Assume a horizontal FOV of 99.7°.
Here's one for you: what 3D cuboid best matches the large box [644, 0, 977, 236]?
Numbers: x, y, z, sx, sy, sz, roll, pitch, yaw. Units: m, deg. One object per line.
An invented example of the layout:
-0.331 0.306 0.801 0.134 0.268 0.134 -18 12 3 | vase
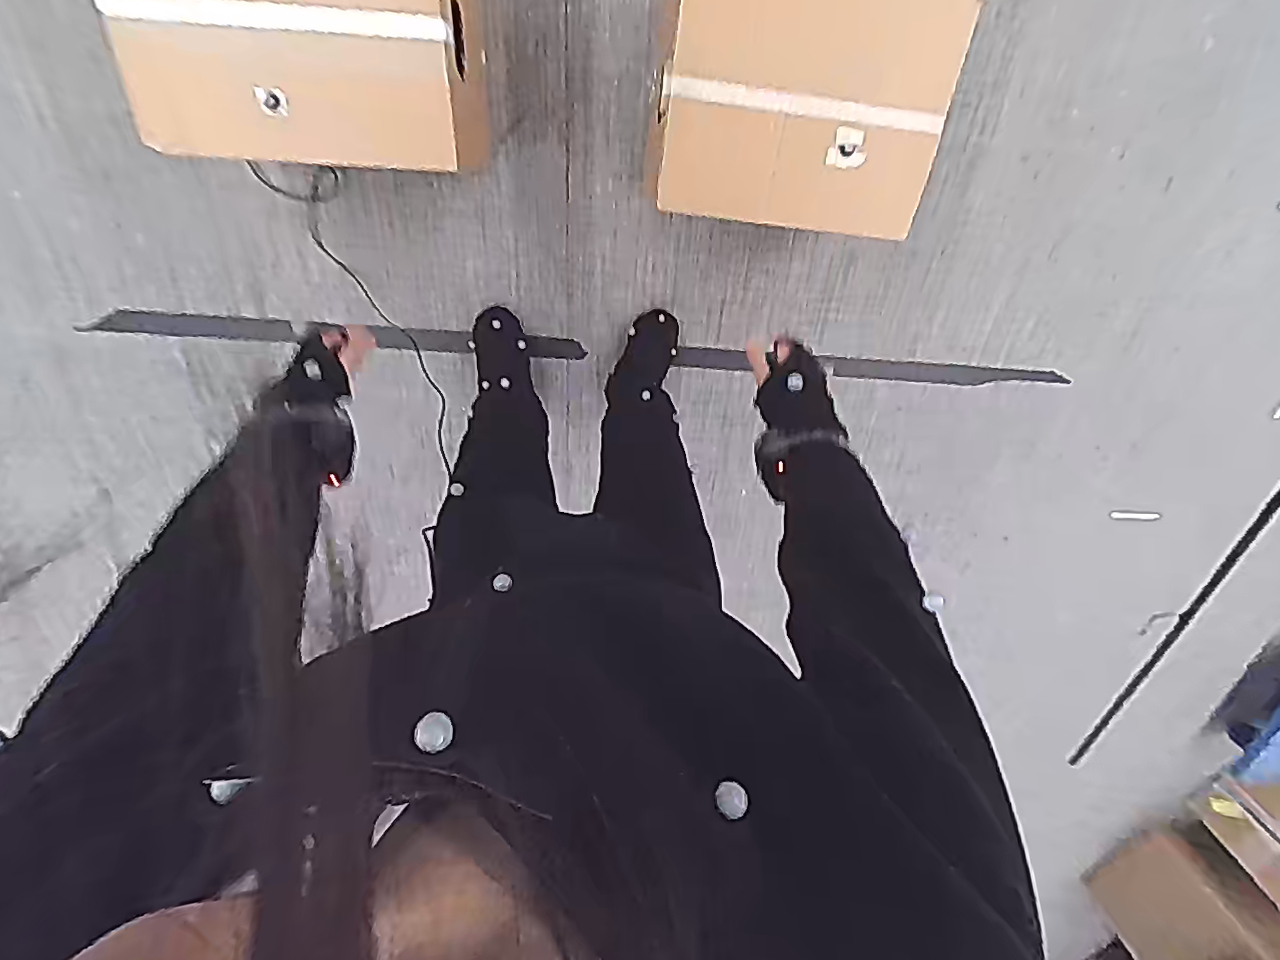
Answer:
0.230 -0.608 0.901 0.408 0.320 0.320 4 120 -8 | large box
